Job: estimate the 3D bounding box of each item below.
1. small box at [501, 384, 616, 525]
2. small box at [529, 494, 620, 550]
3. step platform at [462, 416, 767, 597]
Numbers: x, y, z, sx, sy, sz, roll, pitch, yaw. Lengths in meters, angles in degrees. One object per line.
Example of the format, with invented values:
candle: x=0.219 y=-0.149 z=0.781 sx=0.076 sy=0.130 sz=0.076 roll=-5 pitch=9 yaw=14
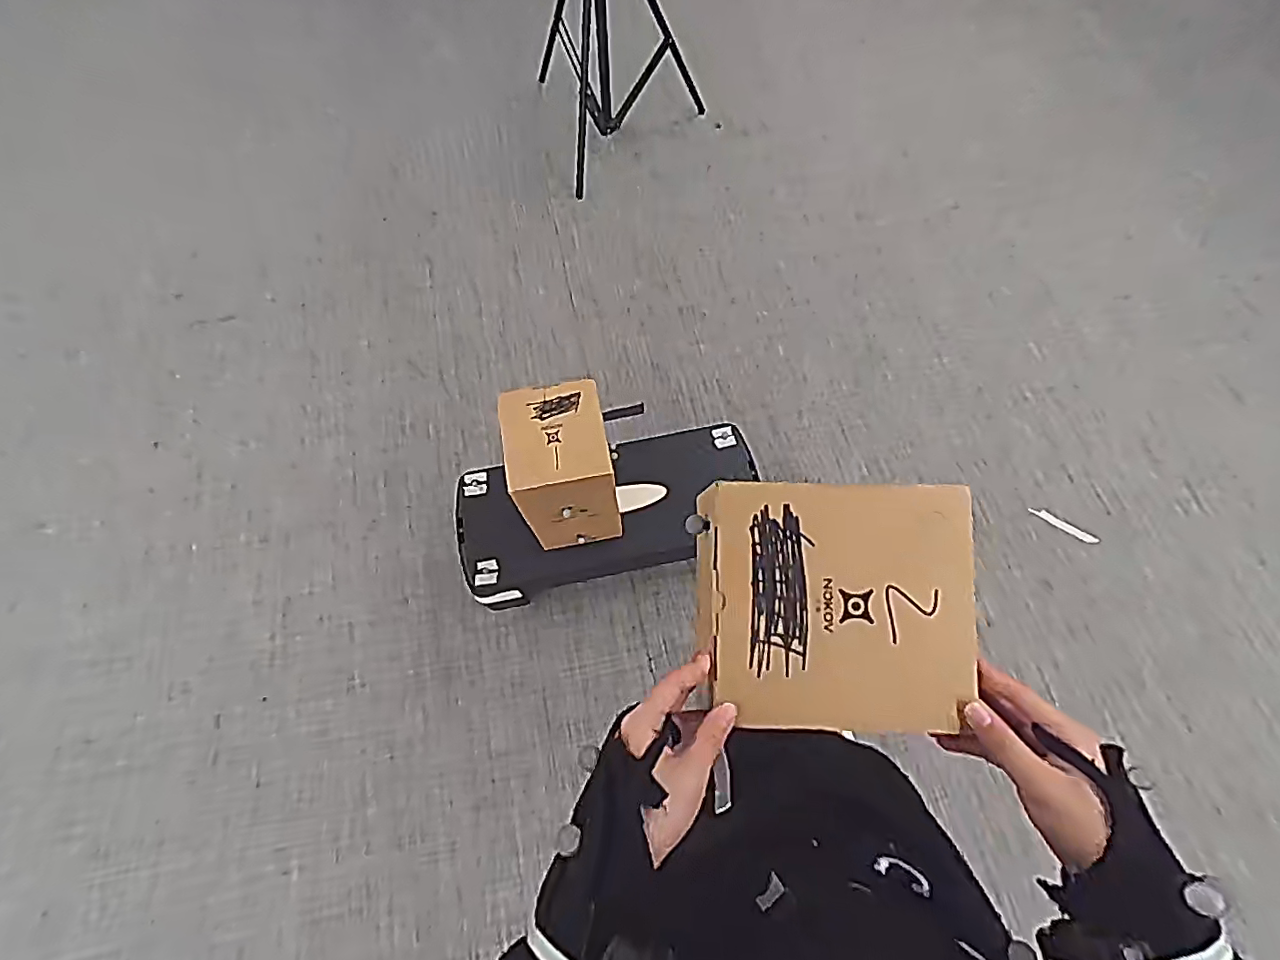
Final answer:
small box: x=-0.137 y=-0.040 z=0.939 sx=0.168 sy=0.176 sz=0.179 roll=-10 pitch=68 yaw=-4
small box: x=-0.135 y=0.026 z=1.090 sx=0.168 sy=0.176 sz=0.179 roll=-10 pitch=68 yaw=-3
step platform: x=-0.057 y=0.060 z=1.263 sx=0.684 sy=0.204 sz=0.286 roll=-12 pitch=68 yaw=-4
